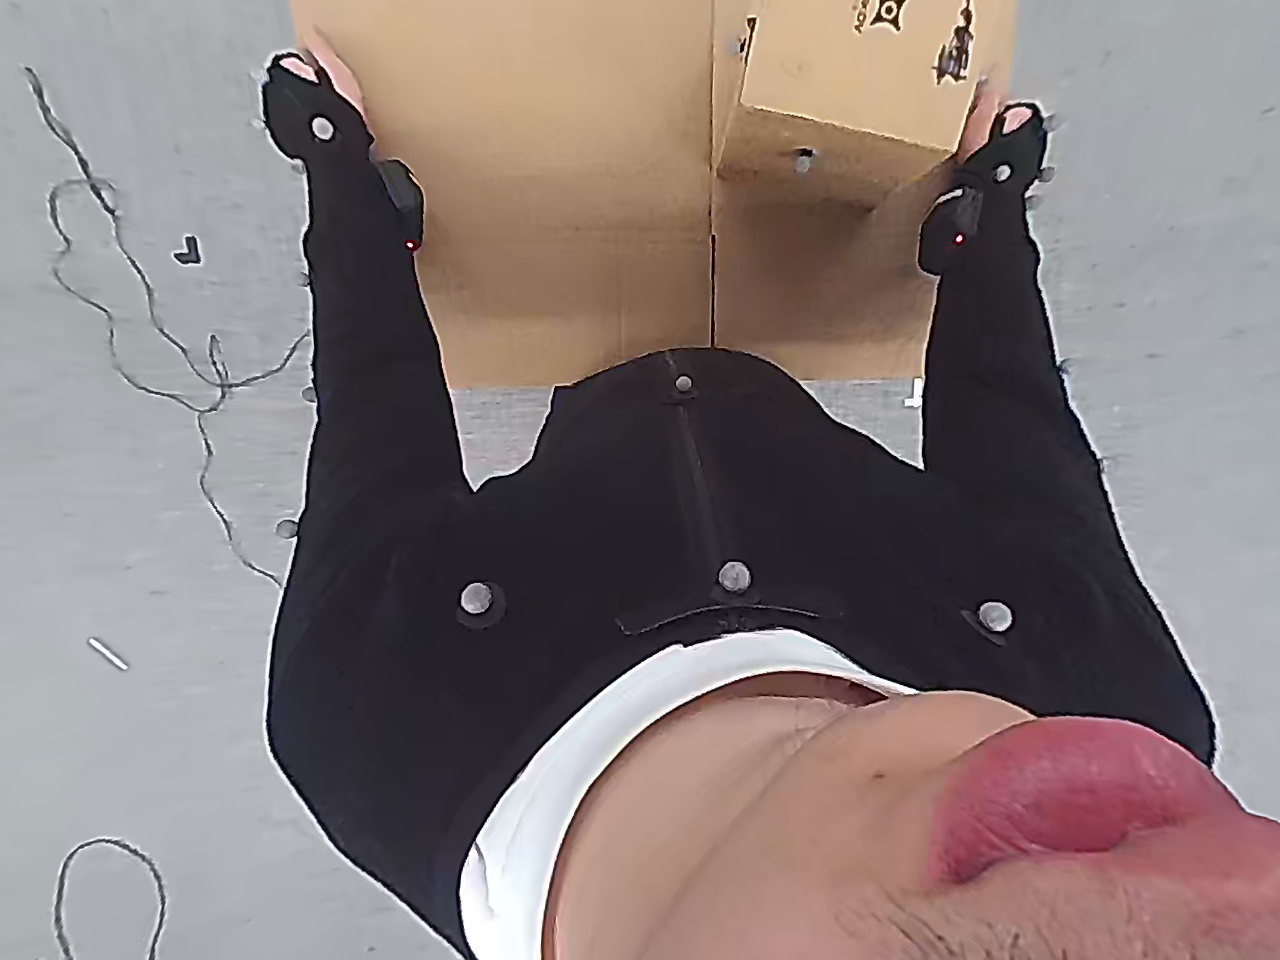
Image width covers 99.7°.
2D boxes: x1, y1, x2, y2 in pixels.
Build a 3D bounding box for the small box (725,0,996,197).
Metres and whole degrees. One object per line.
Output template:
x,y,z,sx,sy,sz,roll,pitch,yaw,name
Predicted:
0.181,-0.373,0.481,0.179,0.176,0.168,12,104,1,small box
